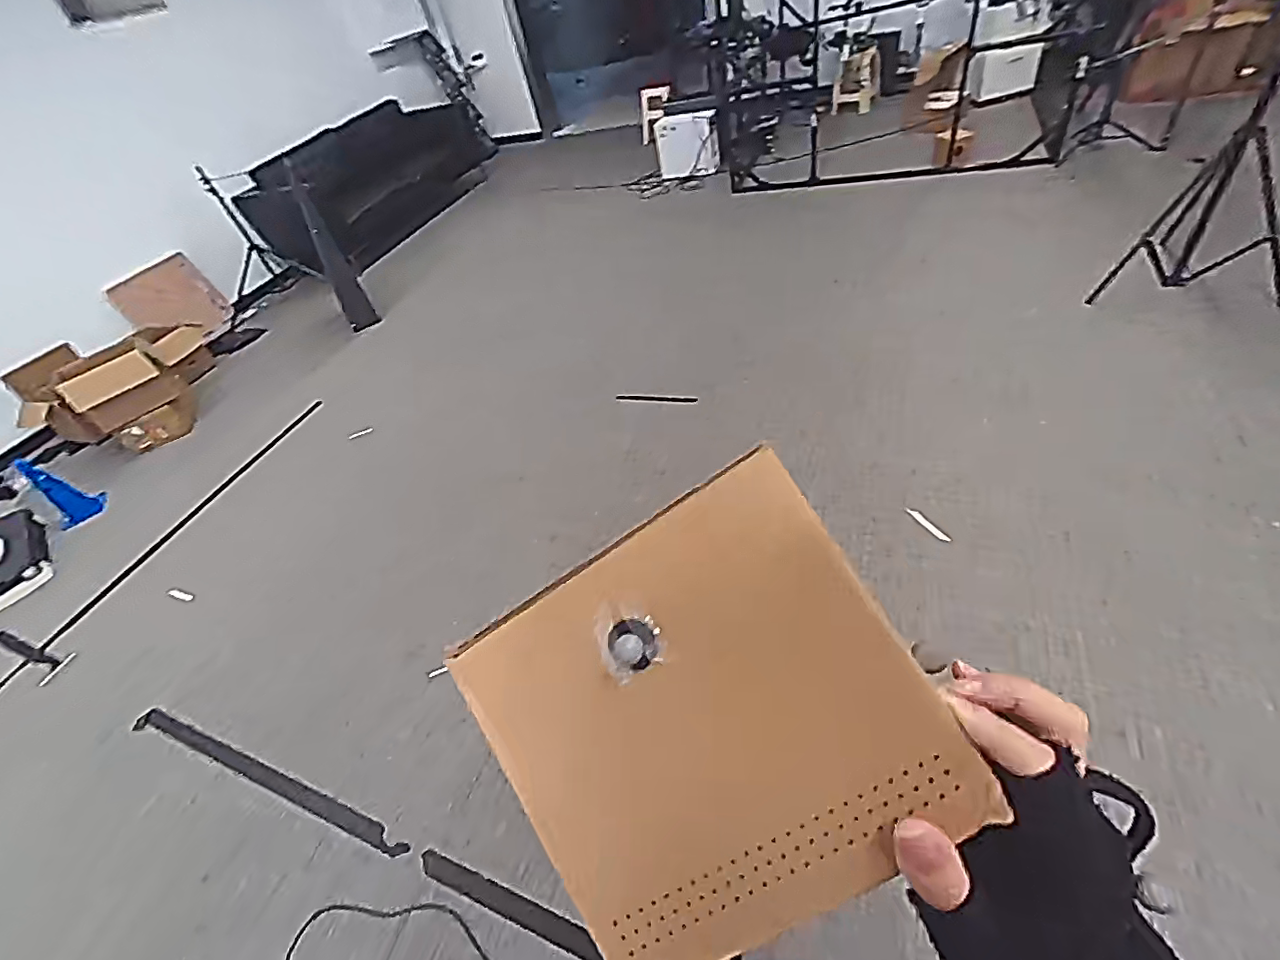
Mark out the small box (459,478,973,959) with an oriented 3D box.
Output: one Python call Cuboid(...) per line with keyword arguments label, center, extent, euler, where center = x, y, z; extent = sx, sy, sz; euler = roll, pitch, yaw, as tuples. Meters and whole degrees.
Cuboid(label="small box", center=(0.041, 0.117, 0.314), extent=(0.179, 0.168, 0.176), euler=(-35, 82, 11))
